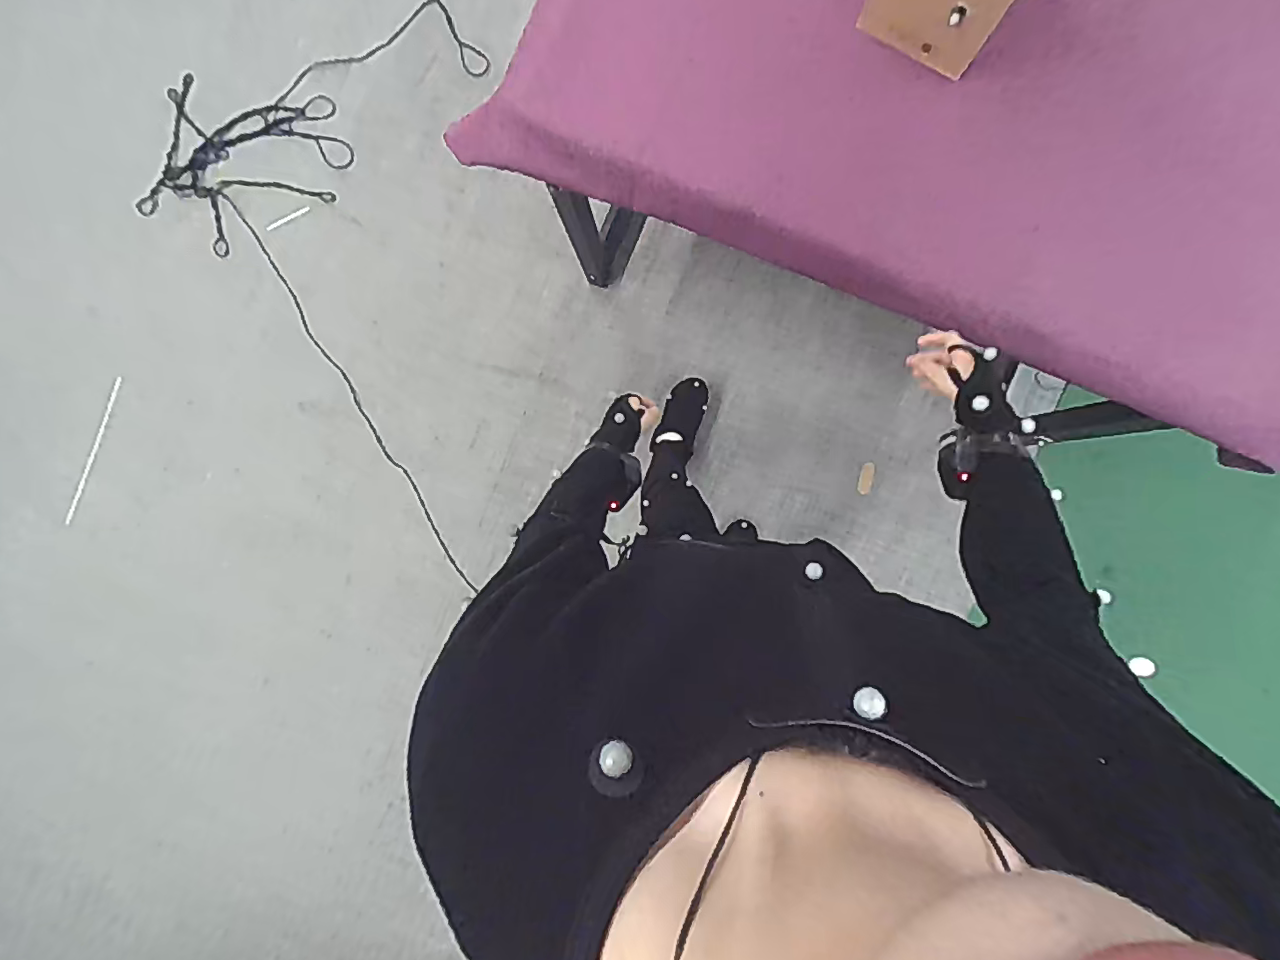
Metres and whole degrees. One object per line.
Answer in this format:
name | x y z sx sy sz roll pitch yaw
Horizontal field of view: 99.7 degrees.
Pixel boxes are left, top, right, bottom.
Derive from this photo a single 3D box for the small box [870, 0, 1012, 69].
small box | 0.417 -0.677 0.674 0.168 0.176 0.179 33 92 3
